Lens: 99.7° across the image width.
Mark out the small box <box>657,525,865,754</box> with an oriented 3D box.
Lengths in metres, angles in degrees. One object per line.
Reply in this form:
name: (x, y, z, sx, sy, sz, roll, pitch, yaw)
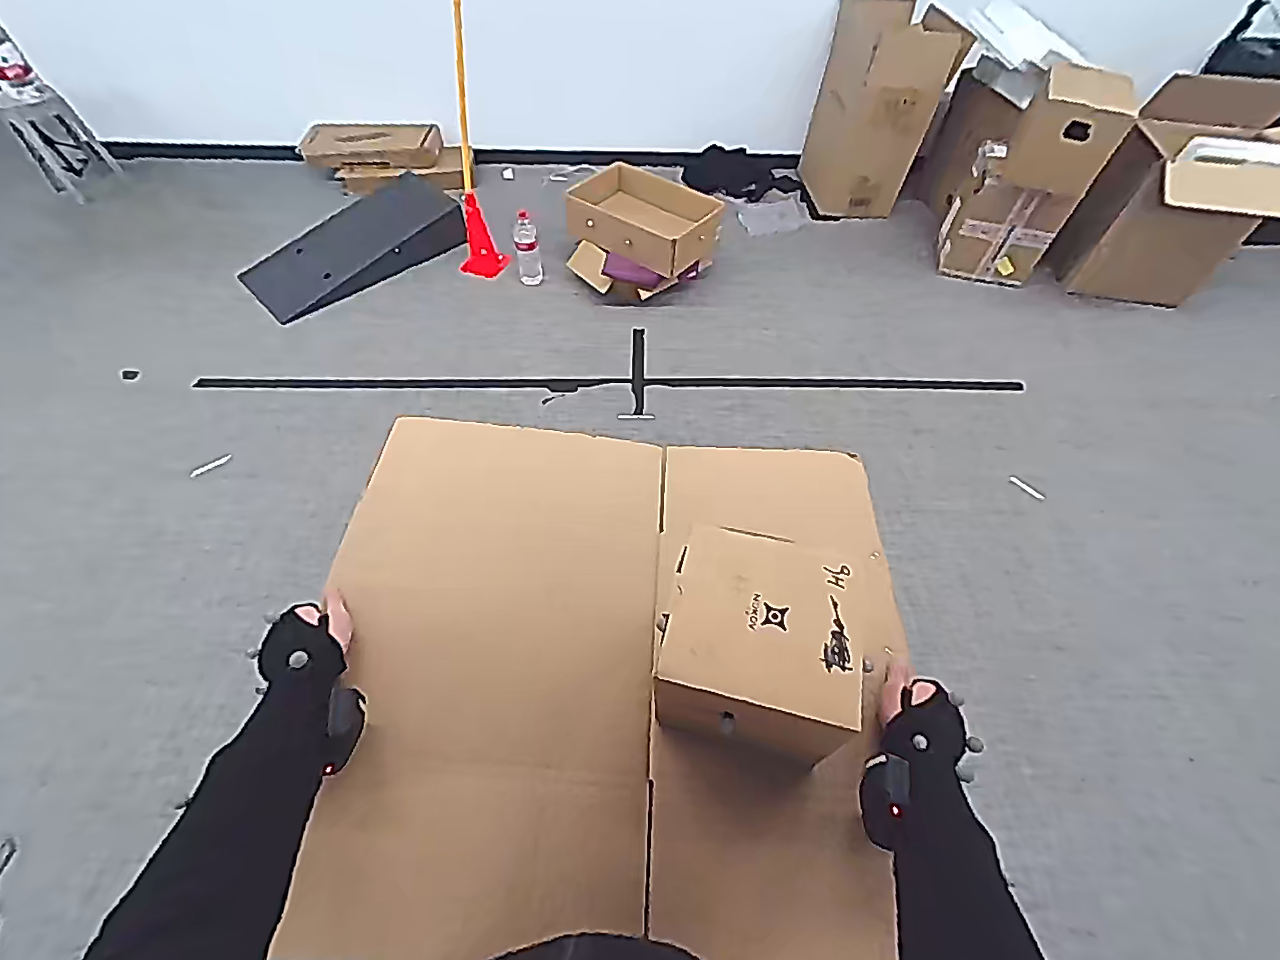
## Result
small box: (0.124, 0.172, 0.571, 0.179, 0.176, 0.168, 10, 55, 11)
